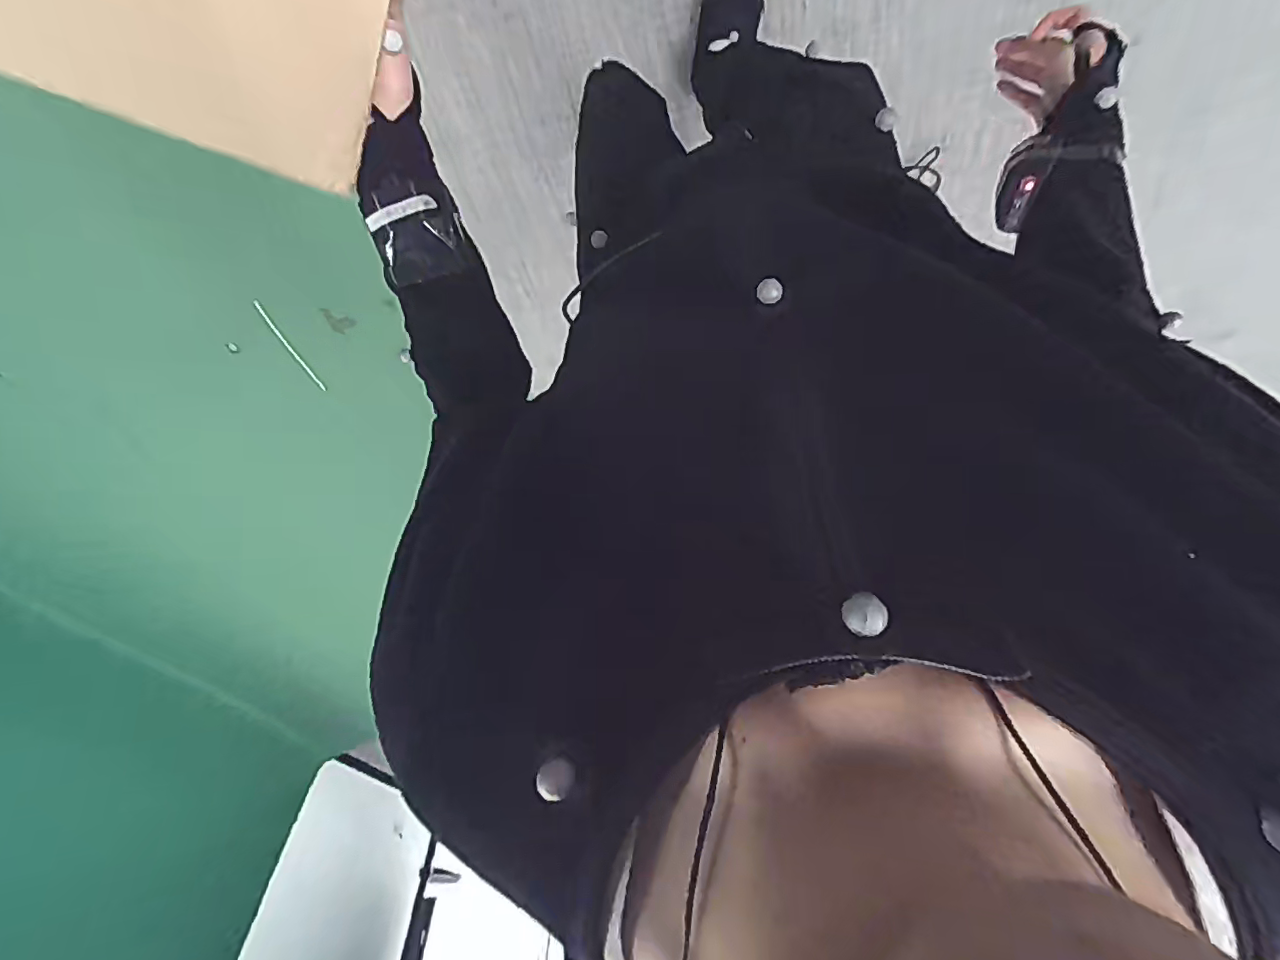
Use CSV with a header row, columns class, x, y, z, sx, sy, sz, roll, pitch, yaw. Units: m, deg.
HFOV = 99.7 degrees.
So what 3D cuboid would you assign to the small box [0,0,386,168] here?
class,x,y,z,sx,sy,sz,roll,pitch,yaw
small box,-0.179,-0.265,0.200,0.168,0.179,0.176,8,134,-33
